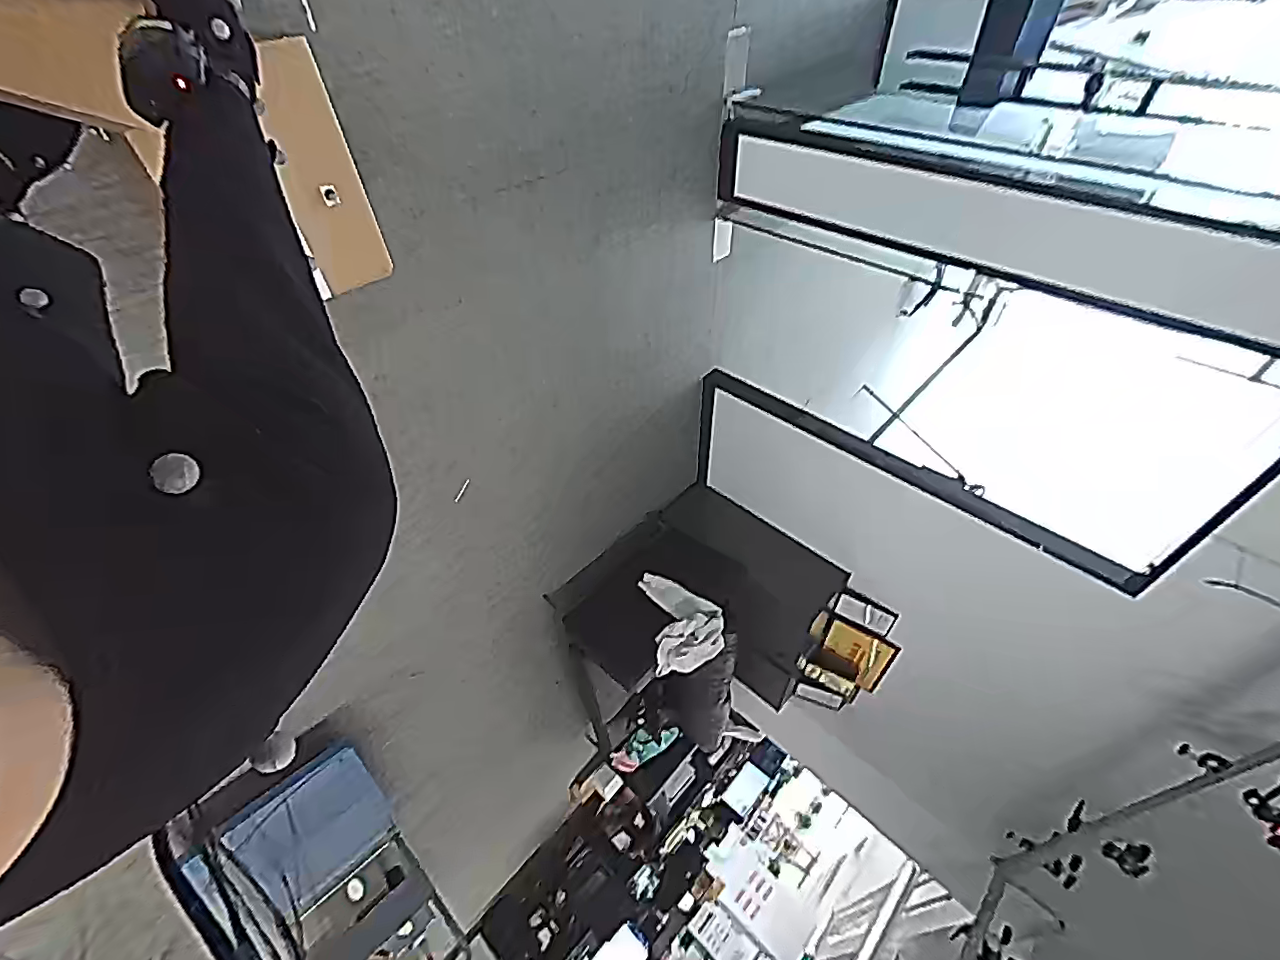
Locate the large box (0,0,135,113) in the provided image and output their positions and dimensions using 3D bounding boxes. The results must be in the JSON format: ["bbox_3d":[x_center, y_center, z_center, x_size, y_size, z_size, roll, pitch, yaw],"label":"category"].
[{"bbox_3d":[-0.685,-0.522,0.413,0.408,0.320,0.320,-7,118,-44],"label":"large box"}]
